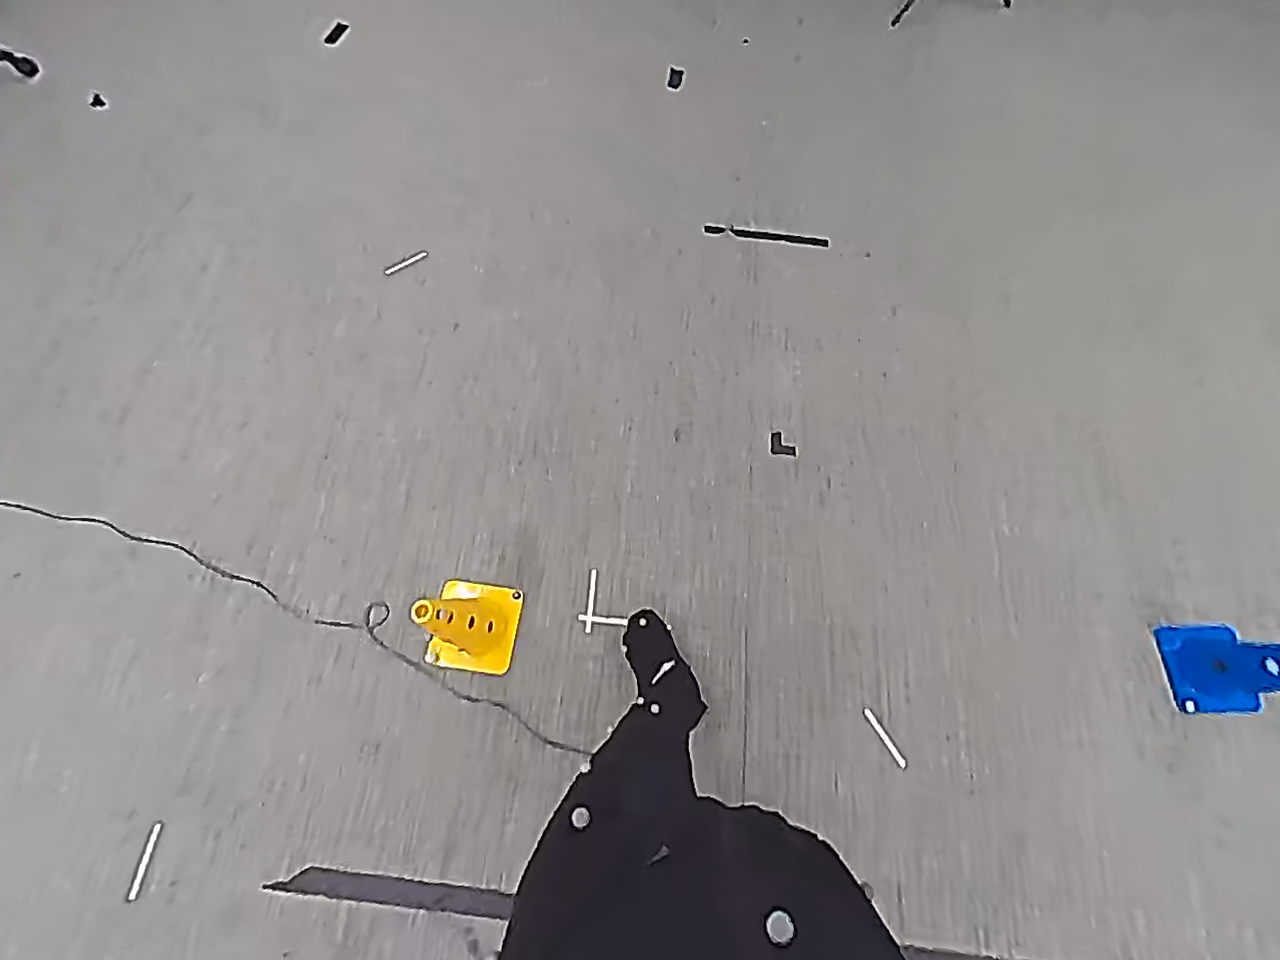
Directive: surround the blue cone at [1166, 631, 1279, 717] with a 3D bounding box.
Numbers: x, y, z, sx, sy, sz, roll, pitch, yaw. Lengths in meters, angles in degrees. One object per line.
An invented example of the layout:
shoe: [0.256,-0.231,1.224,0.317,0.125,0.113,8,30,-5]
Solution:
blue cone: [1.365,0.404,1.132,0.193,0.380,0.192,1,70,0]
